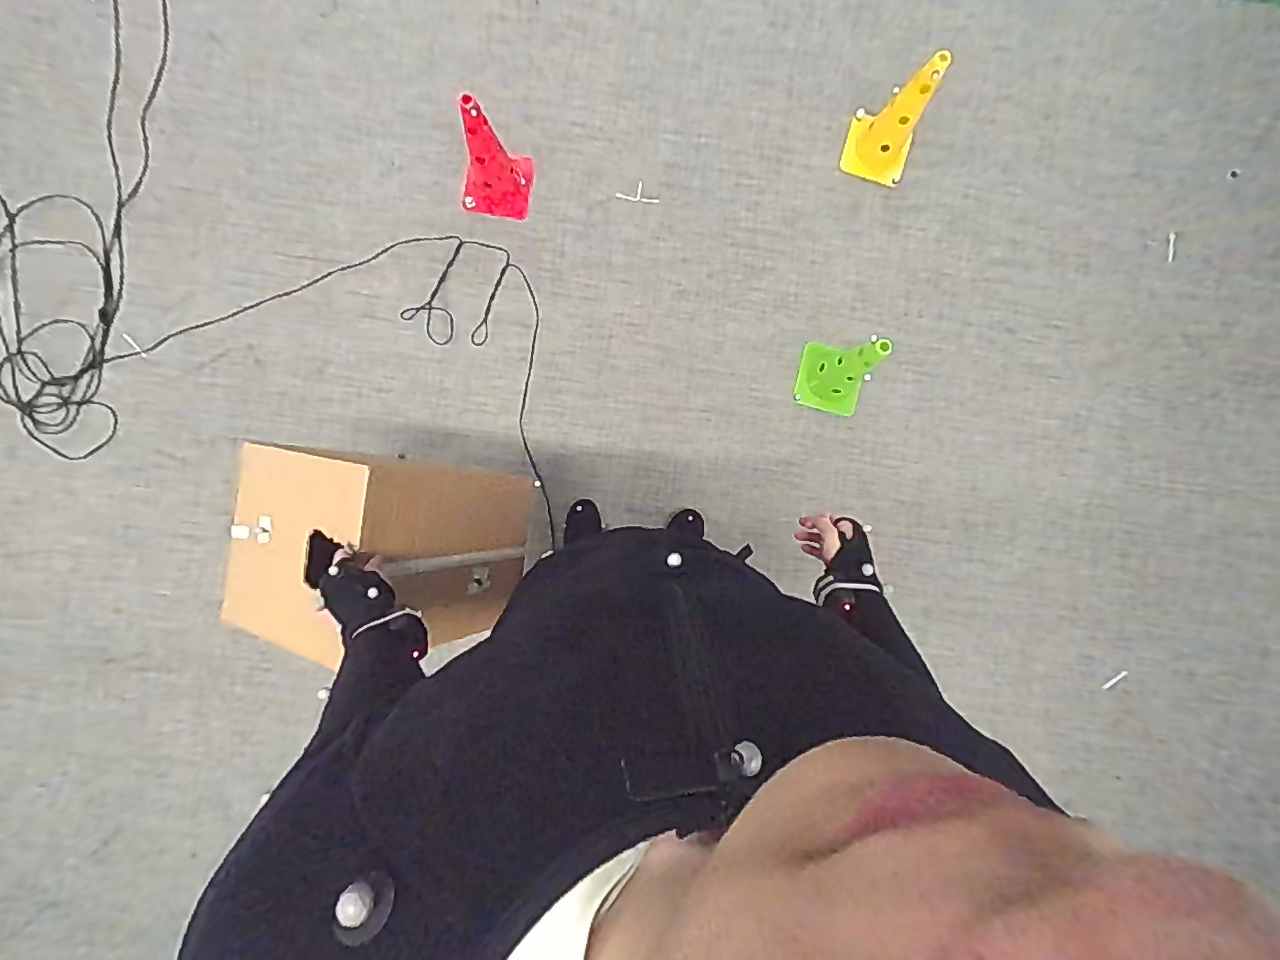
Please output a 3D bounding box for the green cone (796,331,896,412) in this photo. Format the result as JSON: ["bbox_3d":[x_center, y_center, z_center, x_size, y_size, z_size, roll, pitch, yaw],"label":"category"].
[{"bbox_3d":[0.606,-0.334,1.511,0.200,0.368,0.202,13,86,-2],"label":"green cone"}]

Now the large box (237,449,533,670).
[{"bbox_3d":[-0.460,0.115,1.029,0.320,0.408,0.320,9,93,24],"label":"large box"}]
